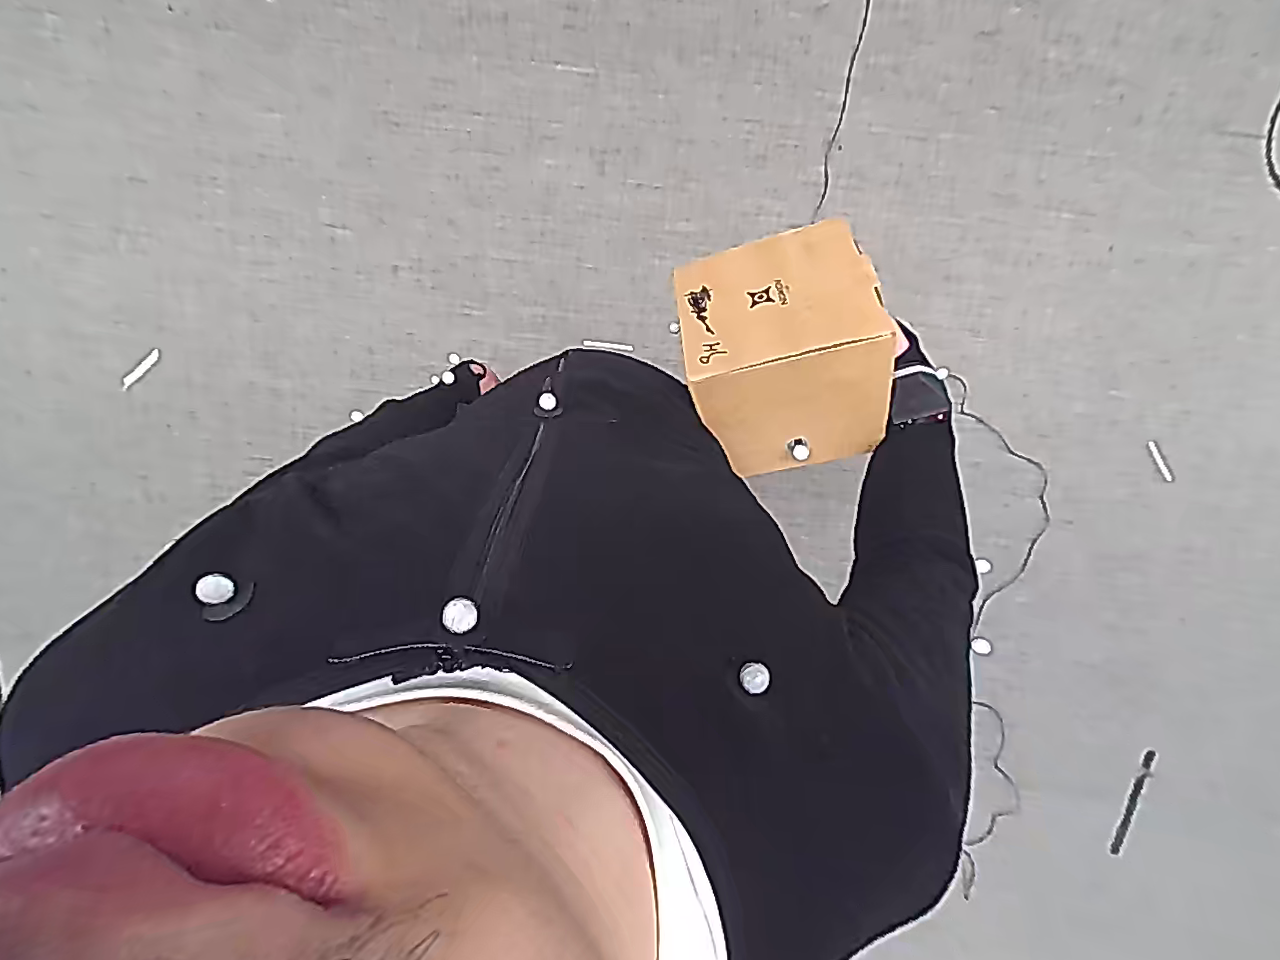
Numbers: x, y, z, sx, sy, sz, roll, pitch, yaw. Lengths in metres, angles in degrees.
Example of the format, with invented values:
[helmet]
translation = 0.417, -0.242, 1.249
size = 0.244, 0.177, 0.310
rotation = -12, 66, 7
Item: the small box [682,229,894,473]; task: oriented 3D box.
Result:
[small box]
translation = 0.151, -0.128, 0.582
size = 0.179, 0.168, 0.176
rotation = -11, 144, 13
